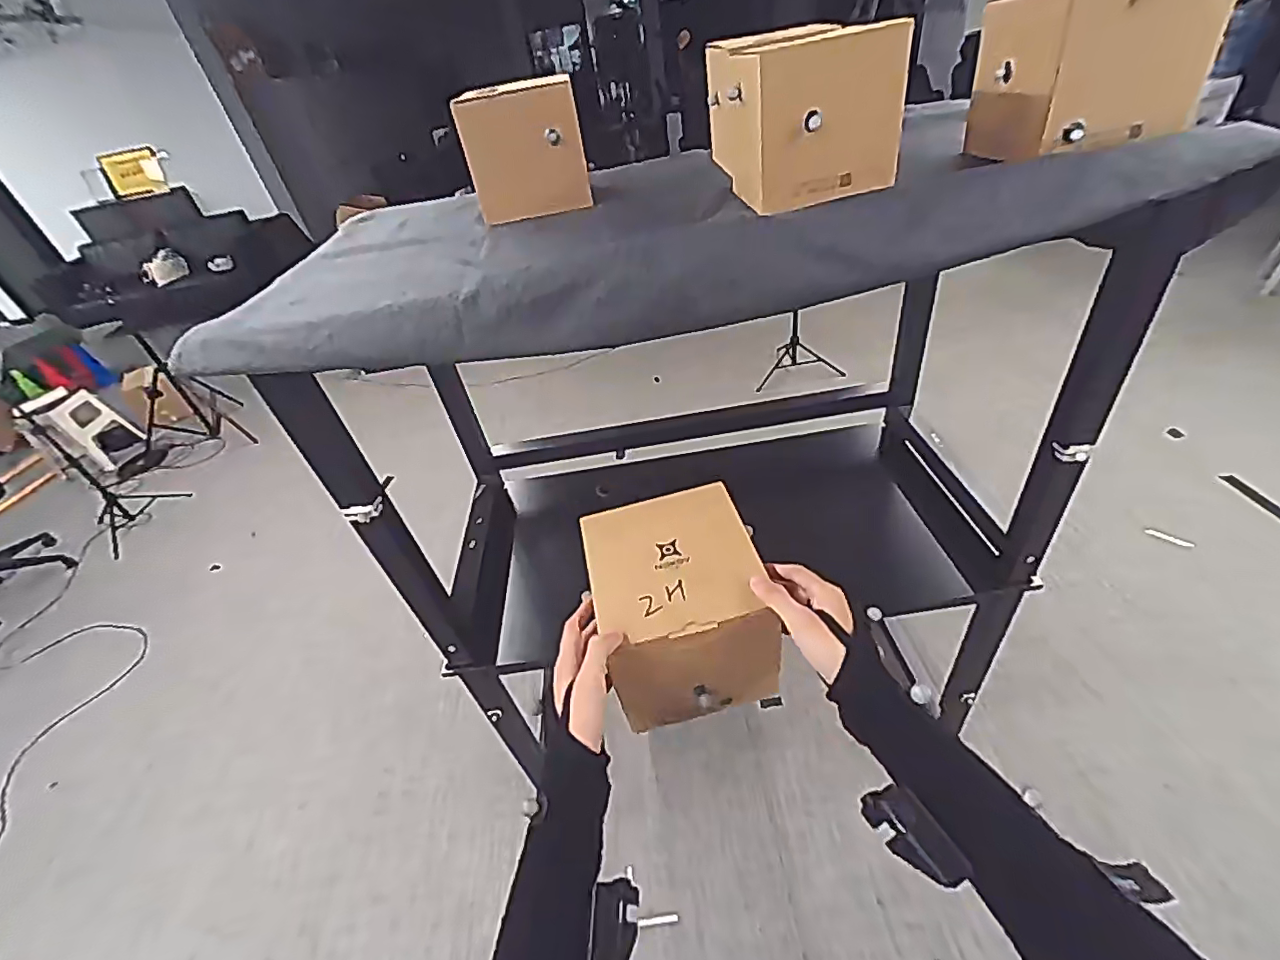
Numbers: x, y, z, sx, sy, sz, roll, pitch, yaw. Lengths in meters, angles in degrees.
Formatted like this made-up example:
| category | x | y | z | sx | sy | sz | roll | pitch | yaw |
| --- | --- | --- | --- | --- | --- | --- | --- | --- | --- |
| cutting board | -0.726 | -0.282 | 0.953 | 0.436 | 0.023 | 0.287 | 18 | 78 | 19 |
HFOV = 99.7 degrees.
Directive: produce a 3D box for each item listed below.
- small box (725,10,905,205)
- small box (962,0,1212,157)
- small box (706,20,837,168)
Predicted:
| category | x | y | z | sx | sy | sz | roll | pitch | yaw |
| --- | --- | --- | --- | --- | --- | --- | --- | --- | --- |
| small box | 0.208 | -0.460 | 0.683 | 0.168 | 0.176 | 0.179 | -10 | 37 | 2 |
| small box | 0.520 | -0.499 | 0.646 | 0.168 | 0.176 | 0.179 | -8 | 35 | 5 |
| small box | 0.205 | -0.621 | 0.880 | 0.168 | 0.176 | 0.179 | -10 | 38 | 2 |
